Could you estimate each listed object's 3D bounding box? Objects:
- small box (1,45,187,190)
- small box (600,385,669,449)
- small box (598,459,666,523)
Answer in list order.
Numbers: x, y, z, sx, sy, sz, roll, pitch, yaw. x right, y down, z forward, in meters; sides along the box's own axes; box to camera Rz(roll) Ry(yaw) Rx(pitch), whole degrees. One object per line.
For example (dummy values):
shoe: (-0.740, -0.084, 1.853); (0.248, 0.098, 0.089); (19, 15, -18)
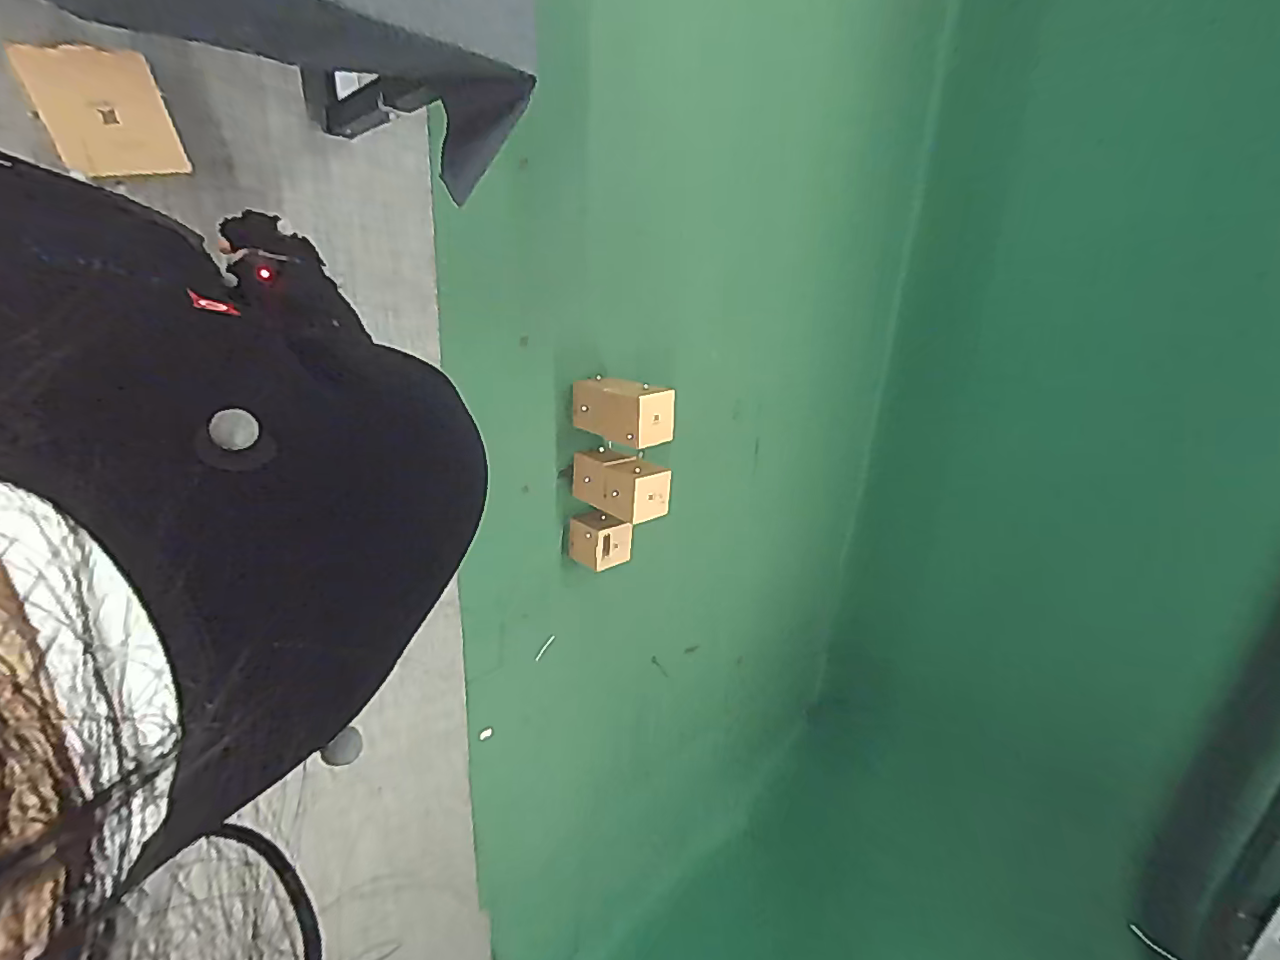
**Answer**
small box: (-0.926, -0.608, 0.925); (0.168, 0.176, 0.179); (-29, 125, -36)
small box: (-0.020, -0.218, 1.808); (0.168, 0.176, 0.179); (-19, 119, -42)
small box: (-0.032, 0.034, 1.897); (0.179, 0.176, 0.168); (-14, 117, -43)
